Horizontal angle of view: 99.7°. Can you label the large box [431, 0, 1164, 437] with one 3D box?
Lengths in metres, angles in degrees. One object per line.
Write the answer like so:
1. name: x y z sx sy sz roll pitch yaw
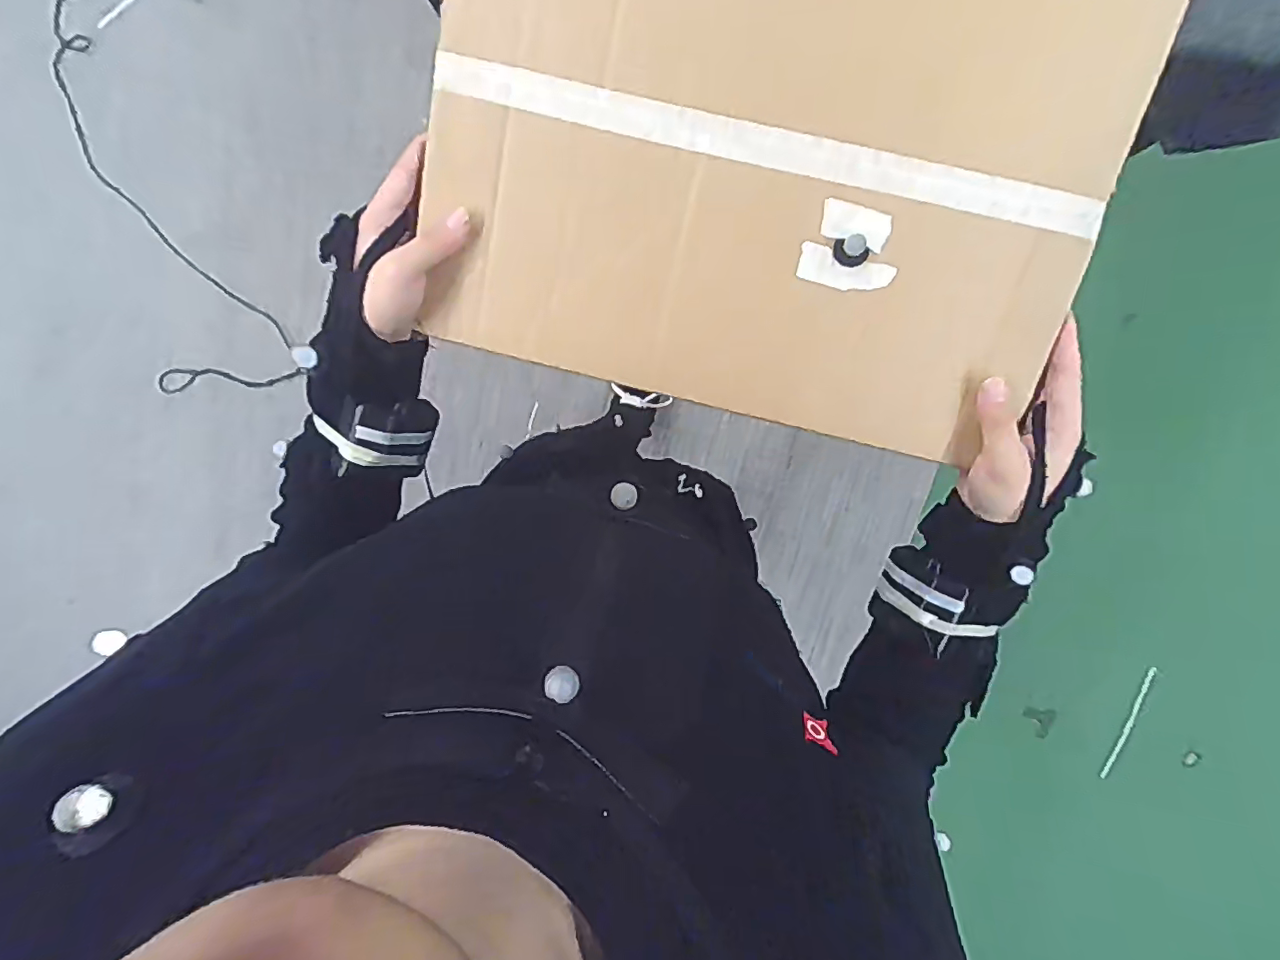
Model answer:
1. large box: 0.087 -0.247 0.477 0.408 0.320 0.320 14 104 0
